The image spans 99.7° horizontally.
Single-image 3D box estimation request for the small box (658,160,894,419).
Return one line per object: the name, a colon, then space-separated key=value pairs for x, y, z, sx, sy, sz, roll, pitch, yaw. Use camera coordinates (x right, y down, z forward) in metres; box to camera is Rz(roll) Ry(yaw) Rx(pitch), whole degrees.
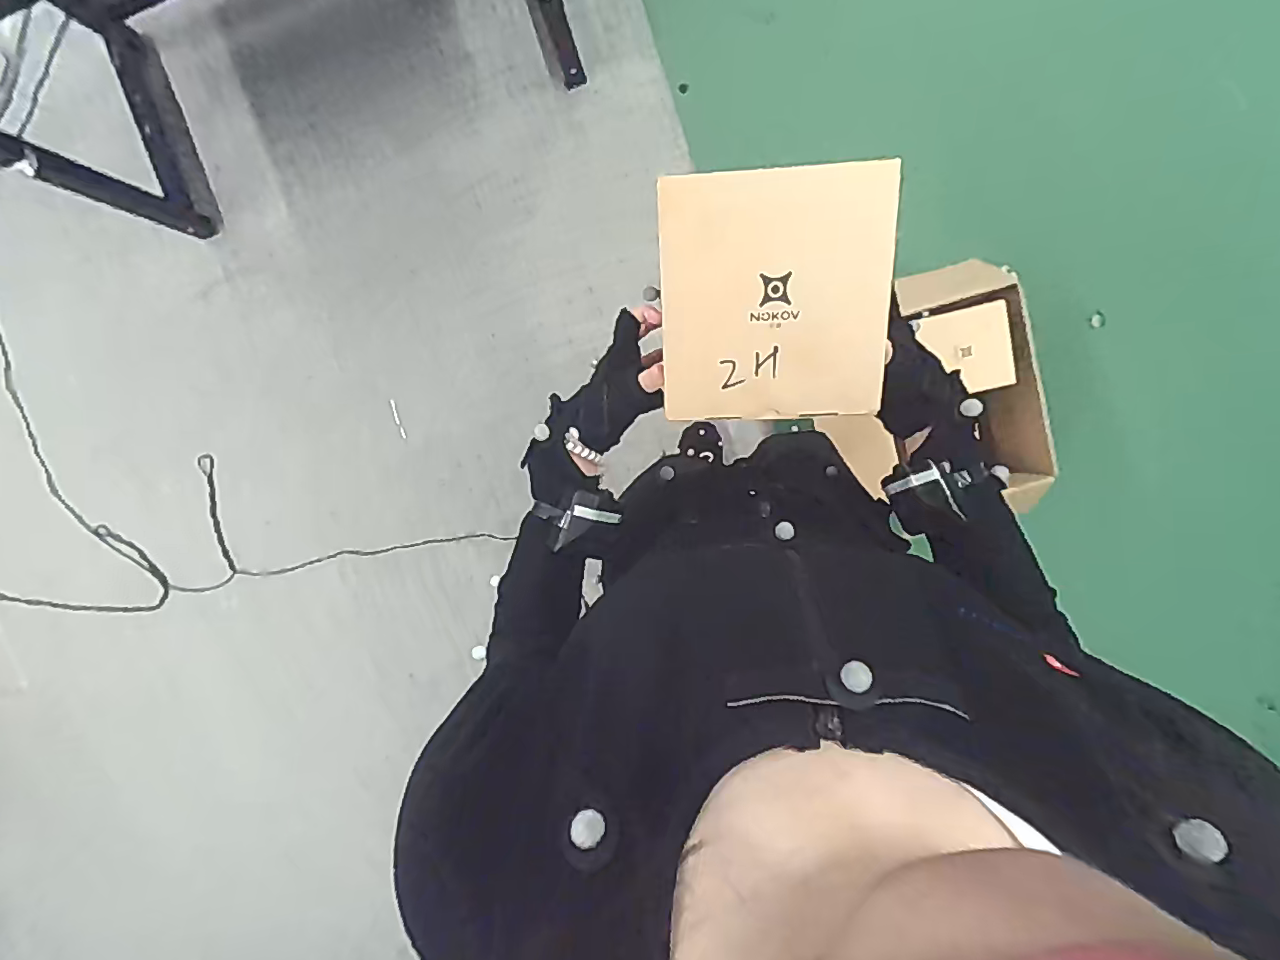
small box: x=0.100 y=-0.156 z=0.471 sx=0.168 sy=0.176 sz=0.179 roll=-2 pitch=108 yaw=4
